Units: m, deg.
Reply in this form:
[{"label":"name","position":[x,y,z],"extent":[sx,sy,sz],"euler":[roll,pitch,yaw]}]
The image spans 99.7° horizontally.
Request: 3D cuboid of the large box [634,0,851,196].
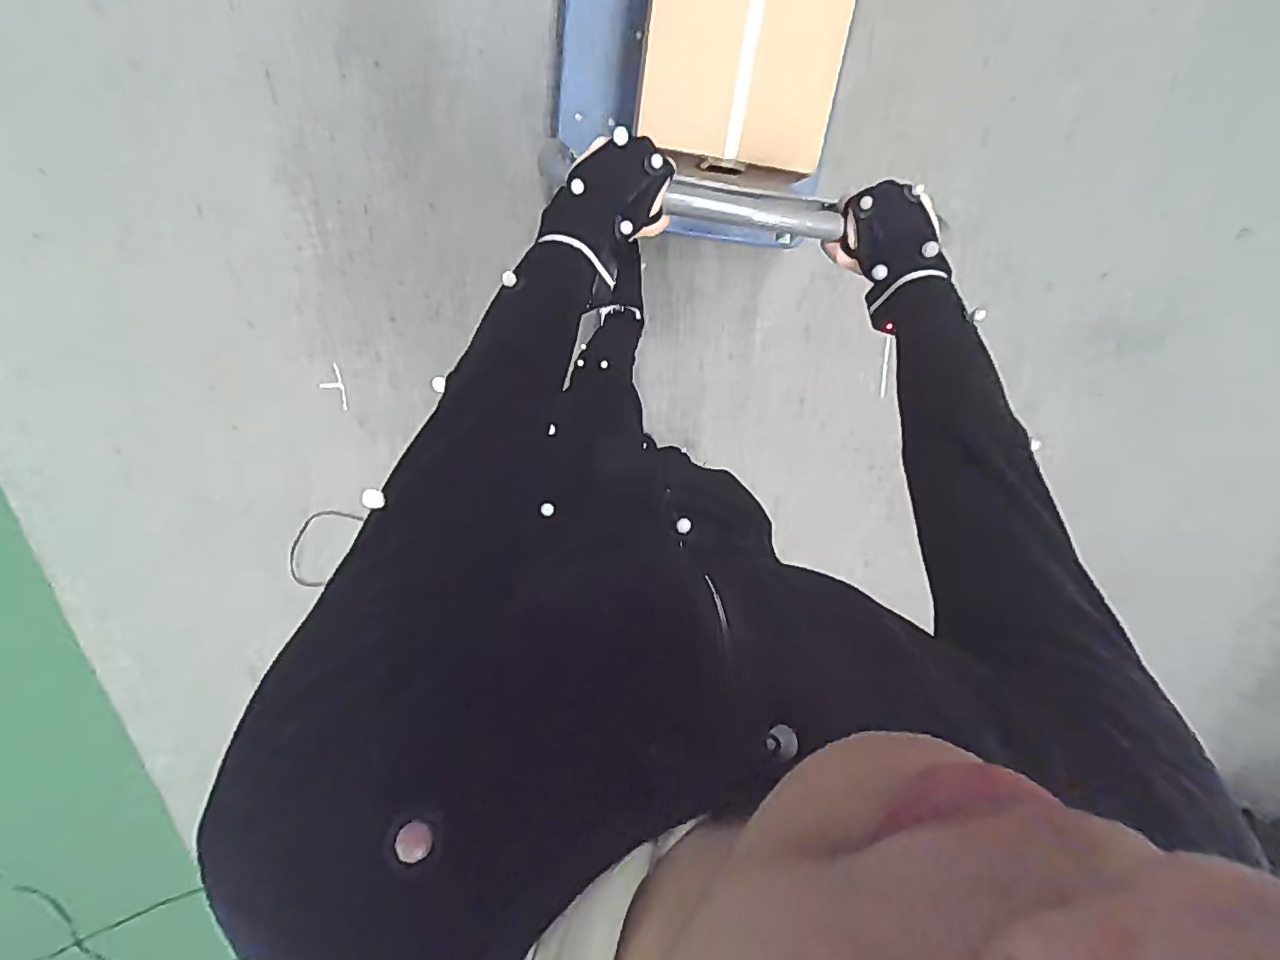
[{"label":"large box","position":[0.165,-0.775,0.982],"extent":[0.320,0.320,0.408],"euler":[6,110,-7]}]
